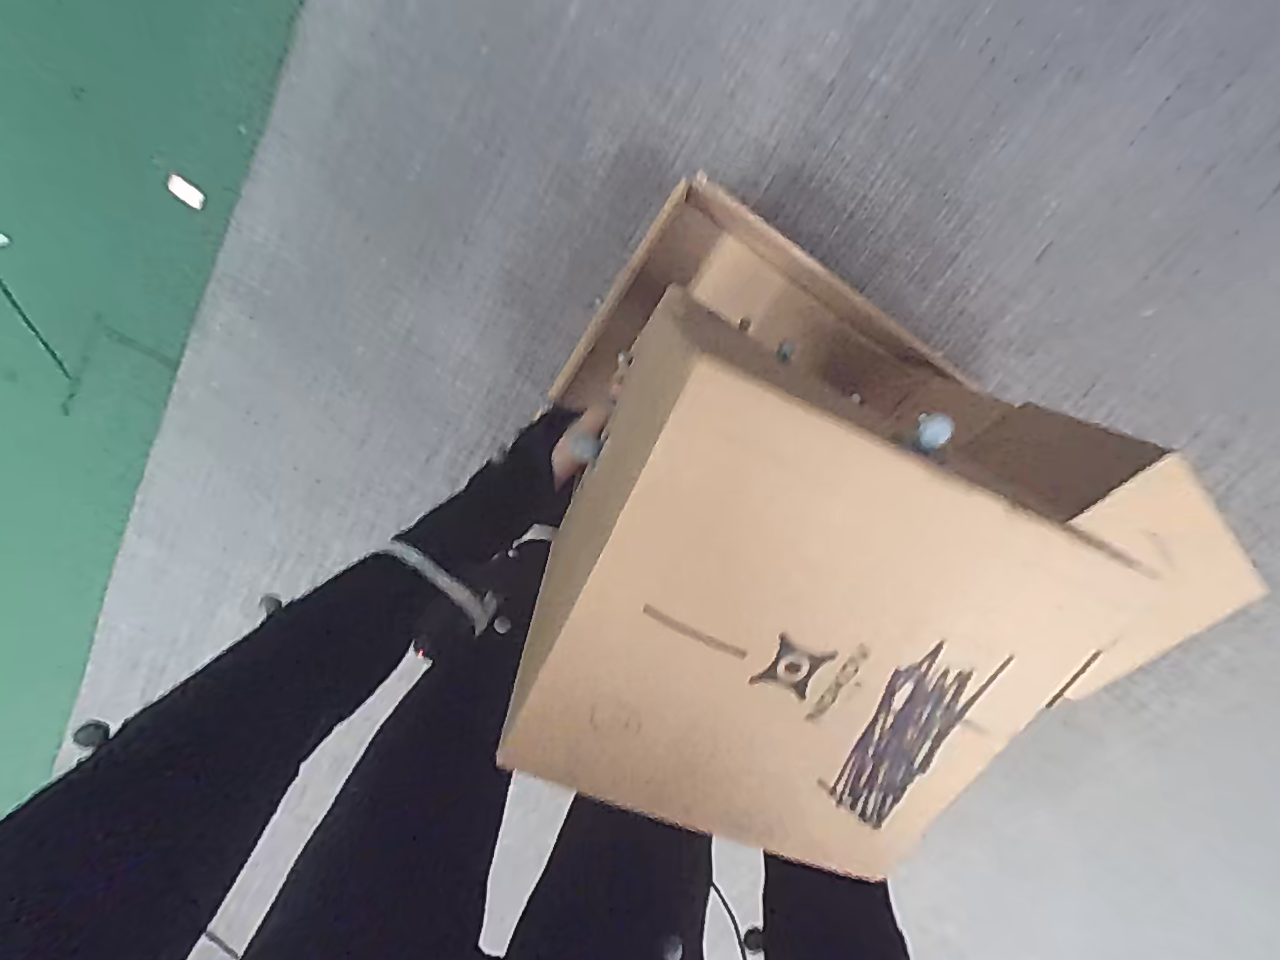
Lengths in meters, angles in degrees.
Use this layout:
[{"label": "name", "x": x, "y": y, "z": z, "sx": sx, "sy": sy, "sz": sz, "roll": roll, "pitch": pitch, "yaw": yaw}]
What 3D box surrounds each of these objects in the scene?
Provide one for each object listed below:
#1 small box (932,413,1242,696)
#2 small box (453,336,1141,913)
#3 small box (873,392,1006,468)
[{"label": "small box", "x": 0.366, "y": 0.064, "z": 0.508, "sx": 0.179, "sy": 0.176, "sz": 0.168, "roll": -40, "pitch": 105, "yaw": 15}, {"label": "small box", "x": 0.045, "y": 0.045, "z": 0.254, "sx": 0.179, "sy": 0.176, "sz": 0.168, "roll": 24, "pitch": 109, "yaw": -8}, {"label": "small box", "x": 0.369, "y": 0.009, "z": 0.662, "sx": 0.179, "sy": 0.176, "sz": 0.168, "roll": 43, "pitch": 106, "yaw": -13}]
